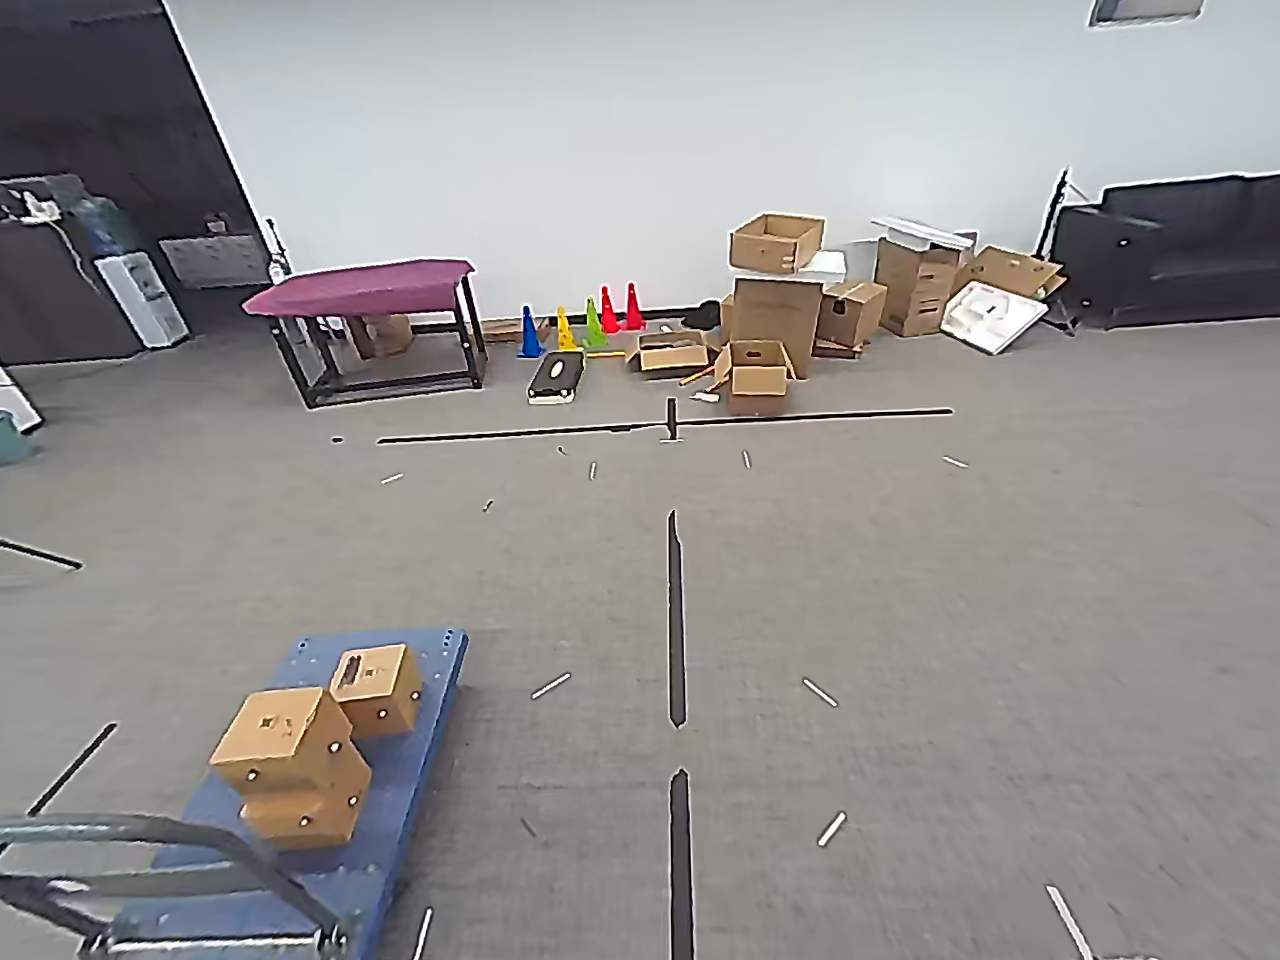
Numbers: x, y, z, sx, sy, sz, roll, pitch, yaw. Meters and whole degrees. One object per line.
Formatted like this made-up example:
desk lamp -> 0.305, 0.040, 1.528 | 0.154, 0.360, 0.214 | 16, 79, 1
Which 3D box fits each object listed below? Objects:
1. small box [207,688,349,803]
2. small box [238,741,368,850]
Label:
small box -> -0.787, 0.589, 1.197 | 0.179, 0.176, 0.168 | -4, 34, -1
small box -> -0.776, 0.740, 1.268 | 0.179, 0.176, 0.168 | -5, 34, -1
